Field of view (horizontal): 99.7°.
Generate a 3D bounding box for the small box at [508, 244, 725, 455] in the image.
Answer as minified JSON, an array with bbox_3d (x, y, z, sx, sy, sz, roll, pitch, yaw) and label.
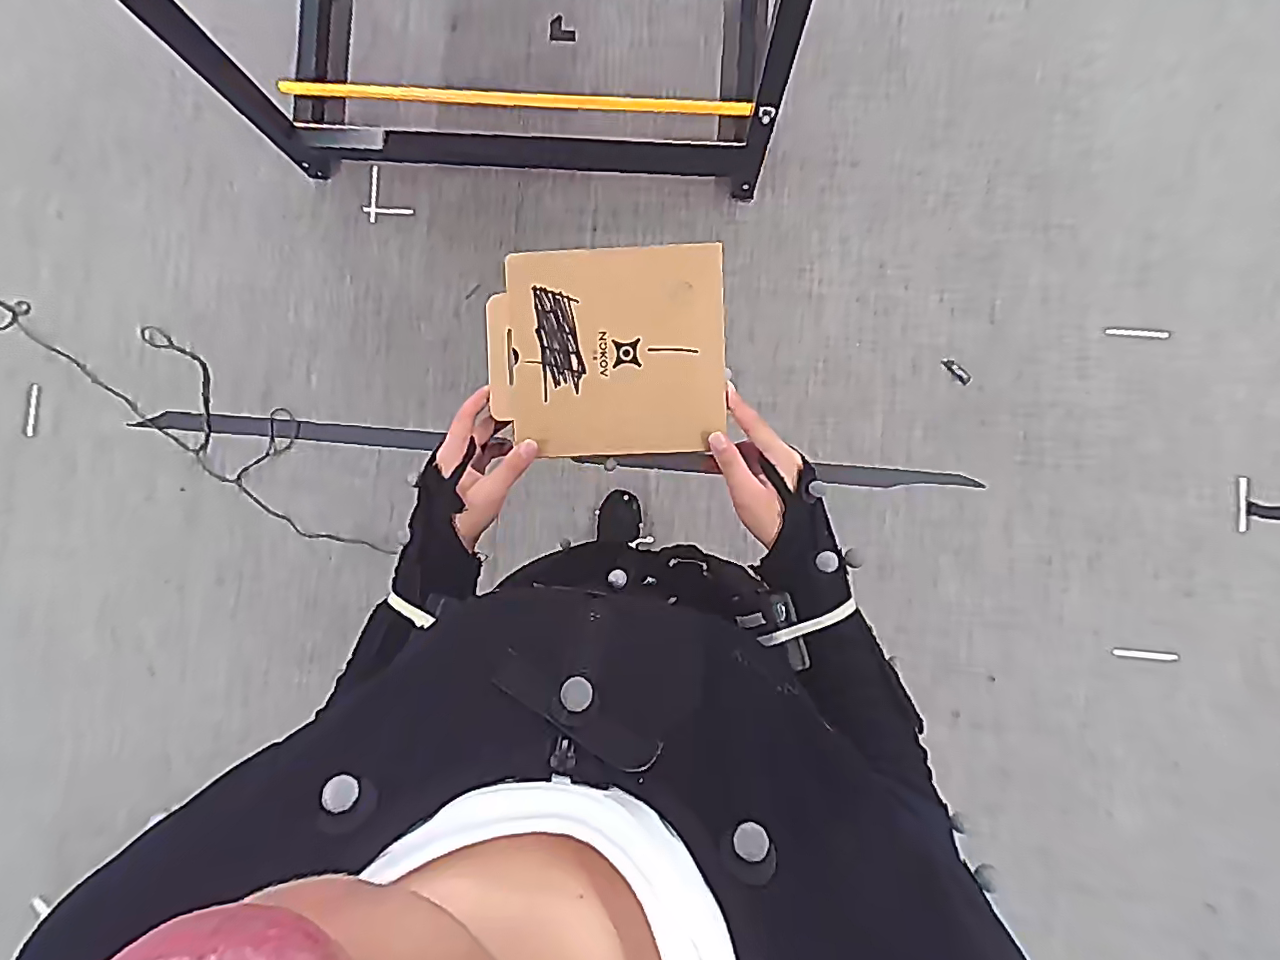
[{"bbox_3d":[-0.015,-0.108,0.516,0.179,0.176,0.168,-2,93,2],"label":"small box"}]
